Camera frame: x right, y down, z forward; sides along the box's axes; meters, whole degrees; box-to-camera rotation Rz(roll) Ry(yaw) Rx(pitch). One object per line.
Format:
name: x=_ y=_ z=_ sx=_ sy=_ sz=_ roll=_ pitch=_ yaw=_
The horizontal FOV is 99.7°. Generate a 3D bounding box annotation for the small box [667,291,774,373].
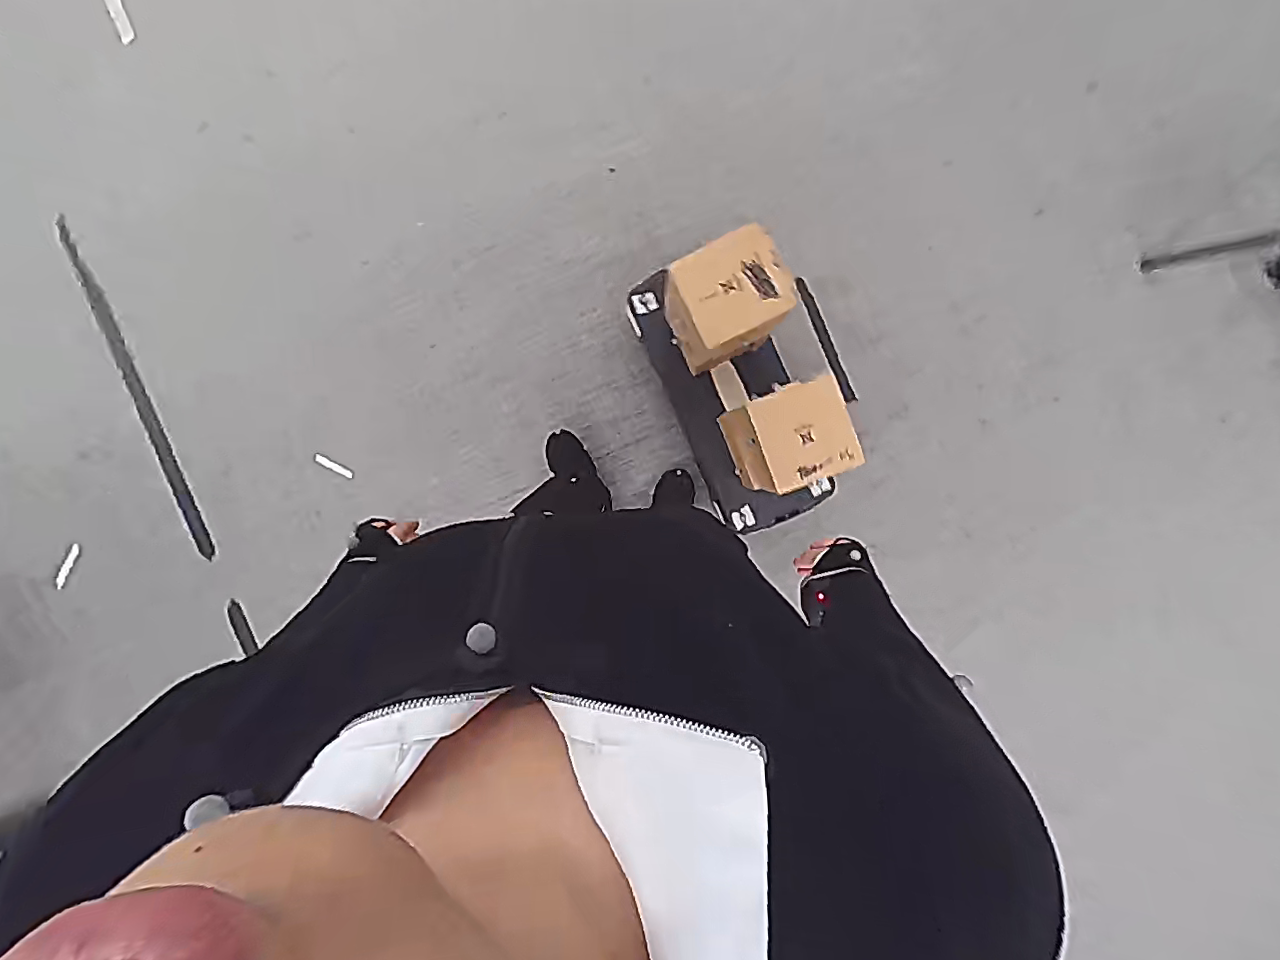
small box: x=0.166 y=-0.349 z=1.184 sx=0.179 sy=0.176 sz=0.168 roll=-24 pitch=92 yaw=4

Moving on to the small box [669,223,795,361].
small box: x=0.163 y=-0.343 z=1.020 sx=0.179 sy=0.176 sz=0.168 roll=-25 pitch=92 yaw=4

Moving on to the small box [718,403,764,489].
small box: x=0.281 y=-0.092 z=1.198 sx=0.168 sy=0.176 sz=0.179 roll=-22 pitch=90 yaw=3

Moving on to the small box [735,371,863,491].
small box: x=0.292 y=-0.087 z=1.033 sx=0.168 sy=0.176 sz=0.179 roll=-20 pitch=91 yaw=3
